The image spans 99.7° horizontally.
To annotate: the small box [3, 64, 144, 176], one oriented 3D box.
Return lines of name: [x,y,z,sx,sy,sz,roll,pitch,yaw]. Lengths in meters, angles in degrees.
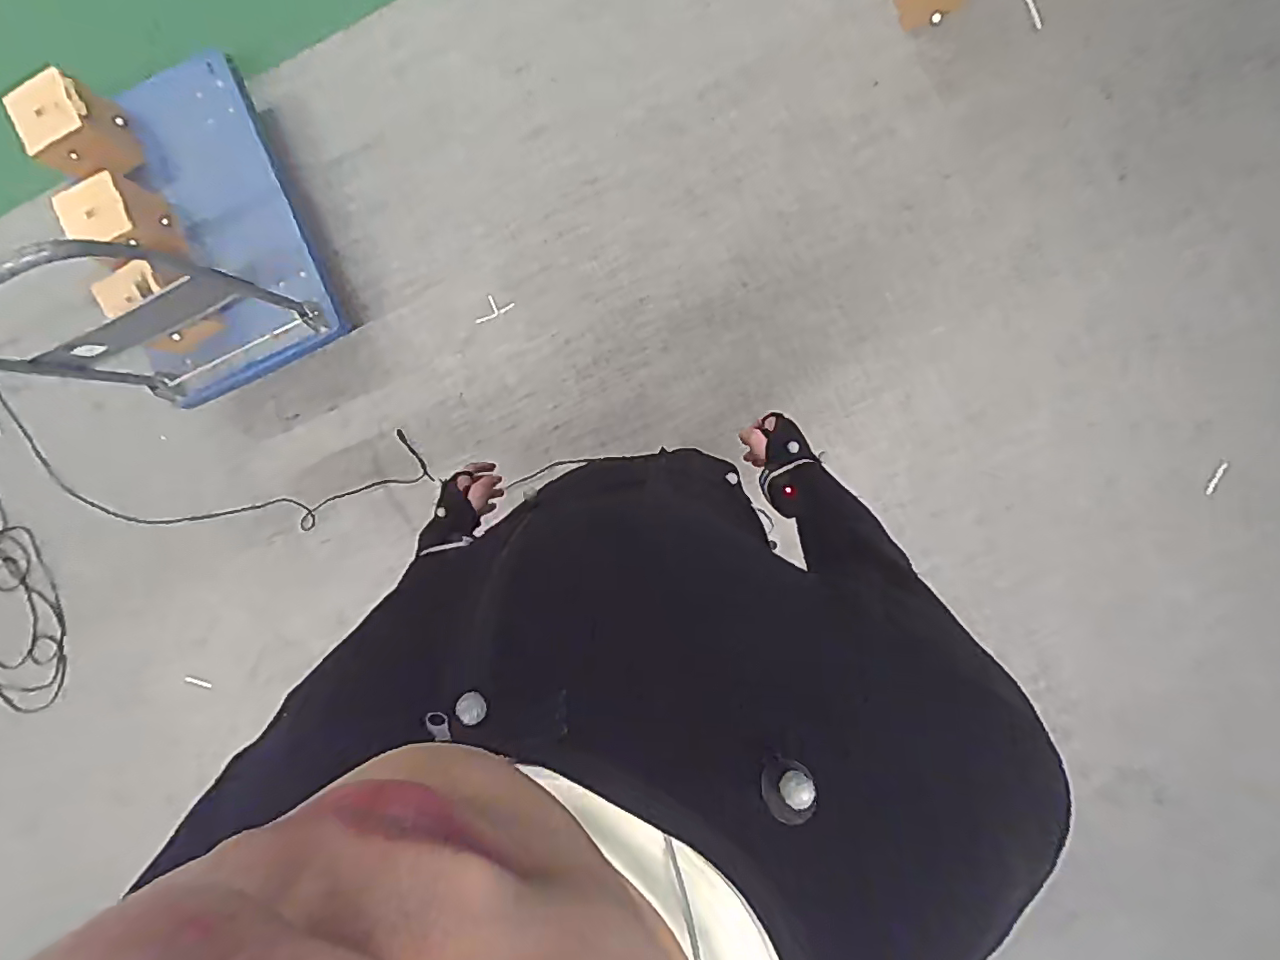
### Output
small box: [-1.507,-0.947,1.450,0.179,0.176,0.168,-24,92,4]

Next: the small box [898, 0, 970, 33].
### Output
small box: [0.803,-1.373,1.453,0.168,0.176,0.179,-18,91,5]

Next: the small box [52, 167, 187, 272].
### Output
small box: [-1.392,-0.691,1.457,0.179,0.176,0.168,-23,91,3]
